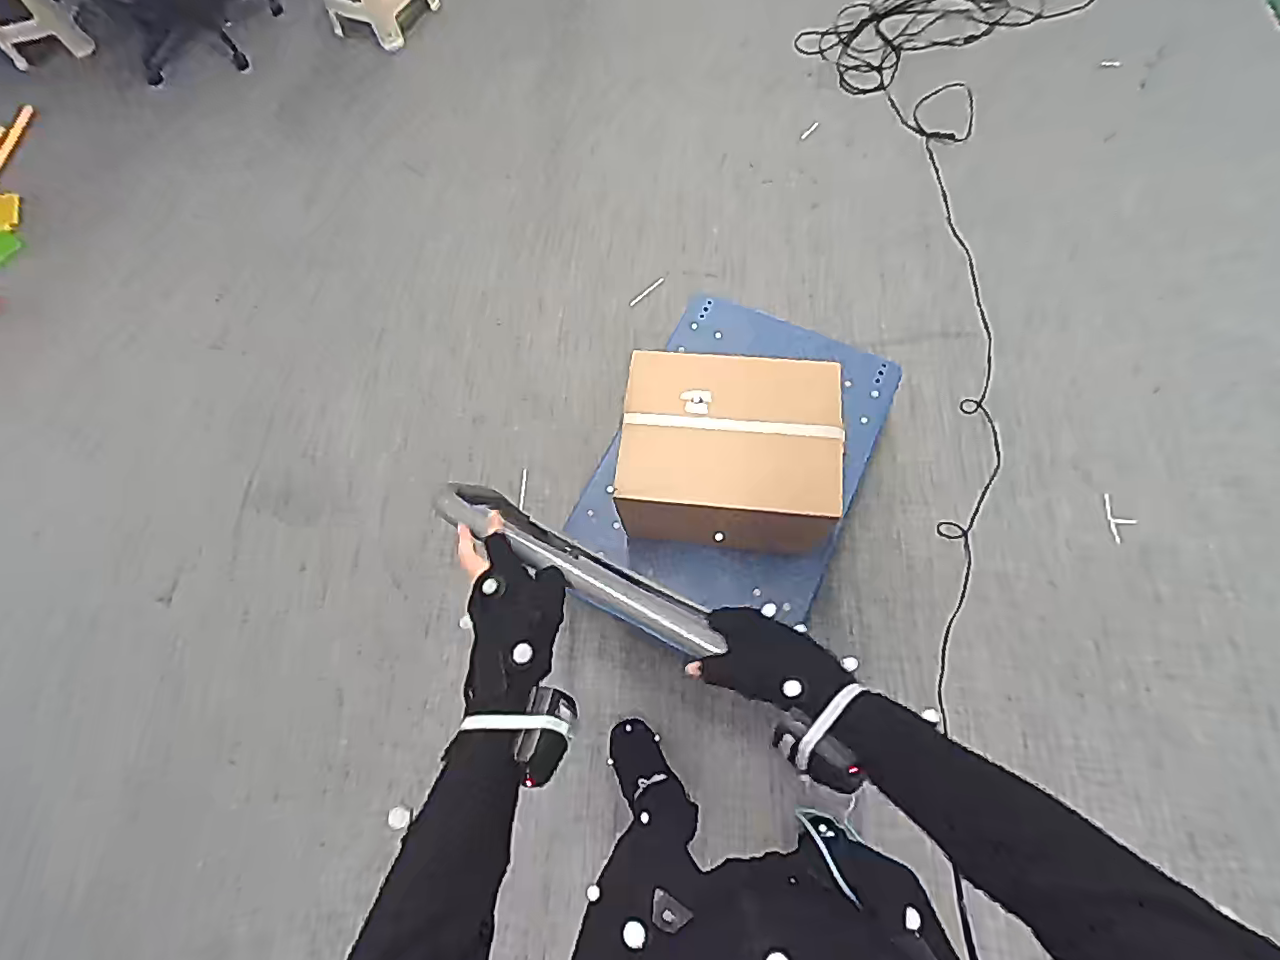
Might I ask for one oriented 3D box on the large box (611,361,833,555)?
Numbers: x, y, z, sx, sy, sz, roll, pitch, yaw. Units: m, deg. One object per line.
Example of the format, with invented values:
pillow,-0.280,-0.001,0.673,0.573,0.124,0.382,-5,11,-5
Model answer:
large box,0.174,-0.034,1.157,0.408,0.320,0.320,5,69,8
